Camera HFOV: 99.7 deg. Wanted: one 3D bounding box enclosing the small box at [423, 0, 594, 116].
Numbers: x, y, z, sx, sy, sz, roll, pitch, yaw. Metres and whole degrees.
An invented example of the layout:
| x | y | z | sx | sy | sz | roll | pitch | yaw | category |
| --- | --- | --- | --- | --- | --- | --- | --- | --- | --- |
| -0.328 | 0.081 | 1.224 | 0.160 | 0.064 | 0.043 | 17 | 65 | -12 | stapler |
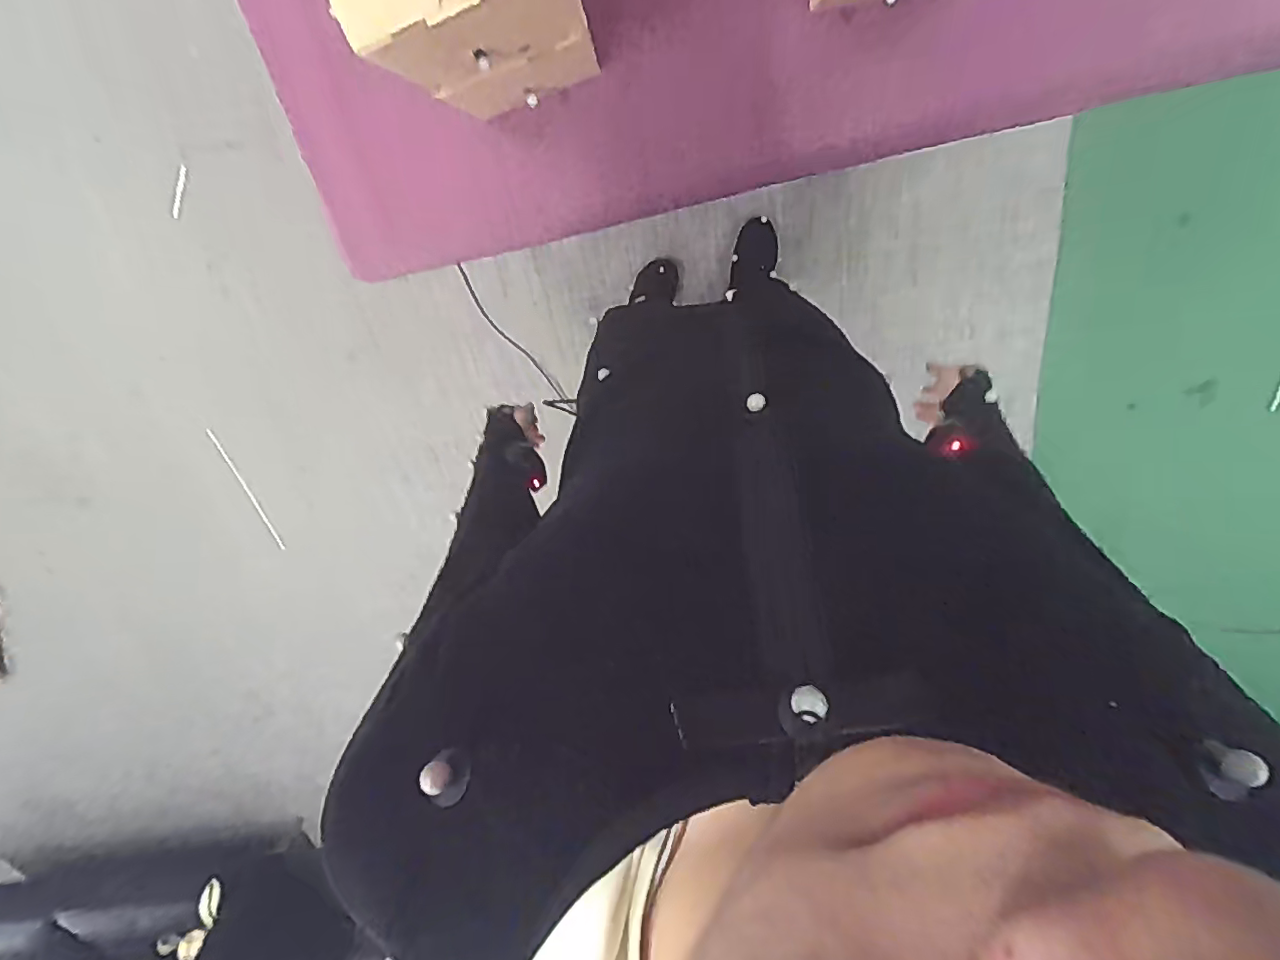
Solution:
| x | y | z | sx | sy | sz | roll | pitch | yaw | category |
| --- | --- | --- | --- | --- | --- | --- | --- | --- | --- |
| -0.158 | -0.525 | 0.579 | 0.168 | 0.176 | 0.179 | -14 | 115 | 10 | small box |

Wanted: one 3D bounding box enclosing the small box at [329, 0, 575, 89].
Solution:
| x | y | z | sx | sy | sz | roll | pitch | yaw | category |
| --- | --- | --- | --- | --- | --- | --- | --- | --- | --- |
| -0.165 | -0.455 | 0.432 | 0.168 | 0.176 | 0.179 | -16 | 115 | 11 | small box |
